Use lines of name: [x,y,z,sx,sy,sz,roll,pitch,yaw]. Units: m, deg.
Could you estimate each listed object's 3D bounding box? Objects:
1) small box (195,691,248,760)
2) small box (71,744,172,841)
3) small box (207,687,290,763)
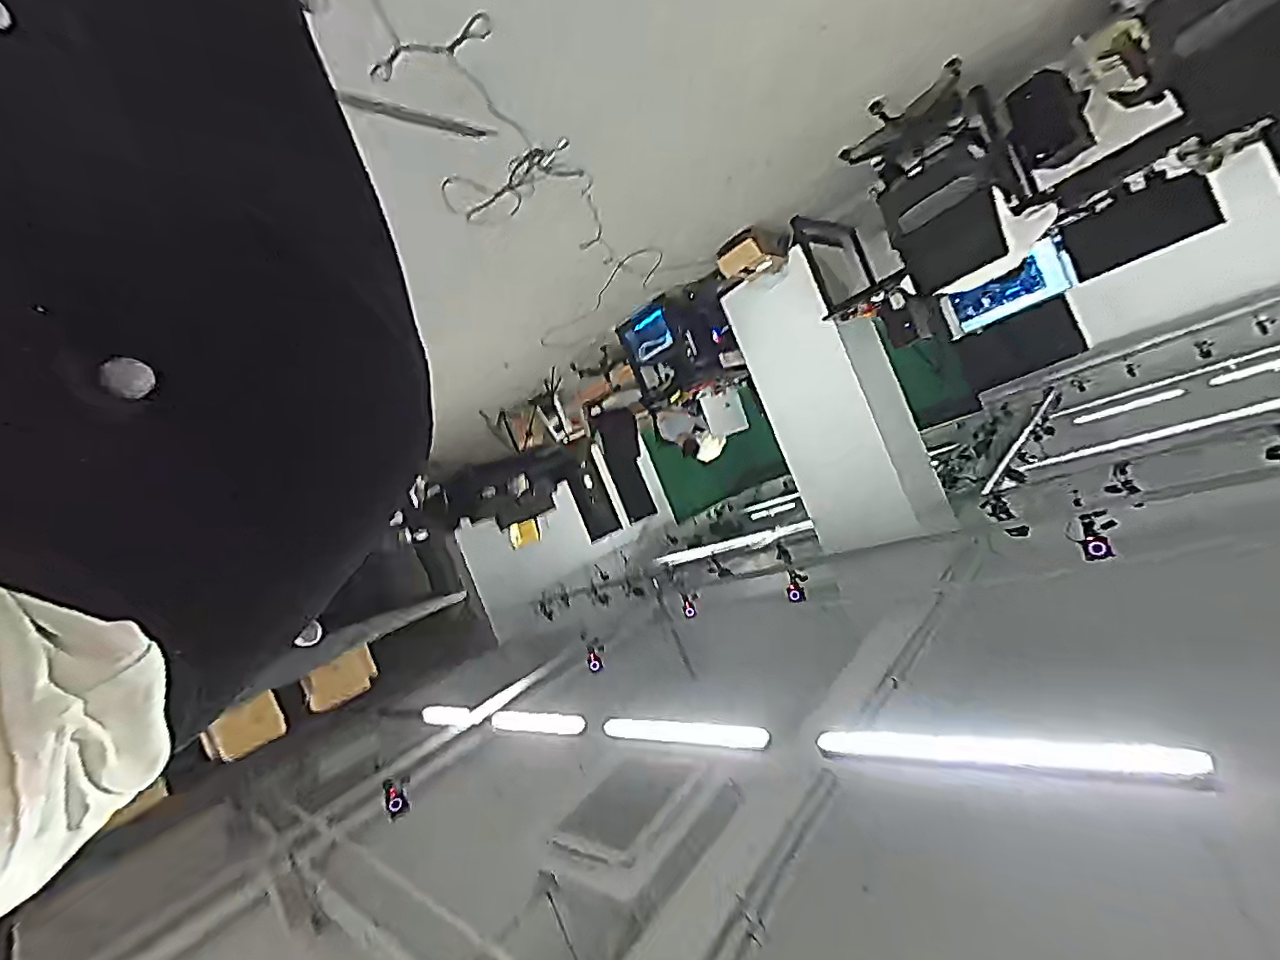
small box: [-1.479,0.879,1.956,0.179,0.176,0.168,-22,180,44]
small box: [-1.482,0.881,1.544,0.179,0.176,0.168,-19,-177,41]
small box: [-1.300,0.802,1.791,0.179,0.176,0.168,-20,-179,44]
